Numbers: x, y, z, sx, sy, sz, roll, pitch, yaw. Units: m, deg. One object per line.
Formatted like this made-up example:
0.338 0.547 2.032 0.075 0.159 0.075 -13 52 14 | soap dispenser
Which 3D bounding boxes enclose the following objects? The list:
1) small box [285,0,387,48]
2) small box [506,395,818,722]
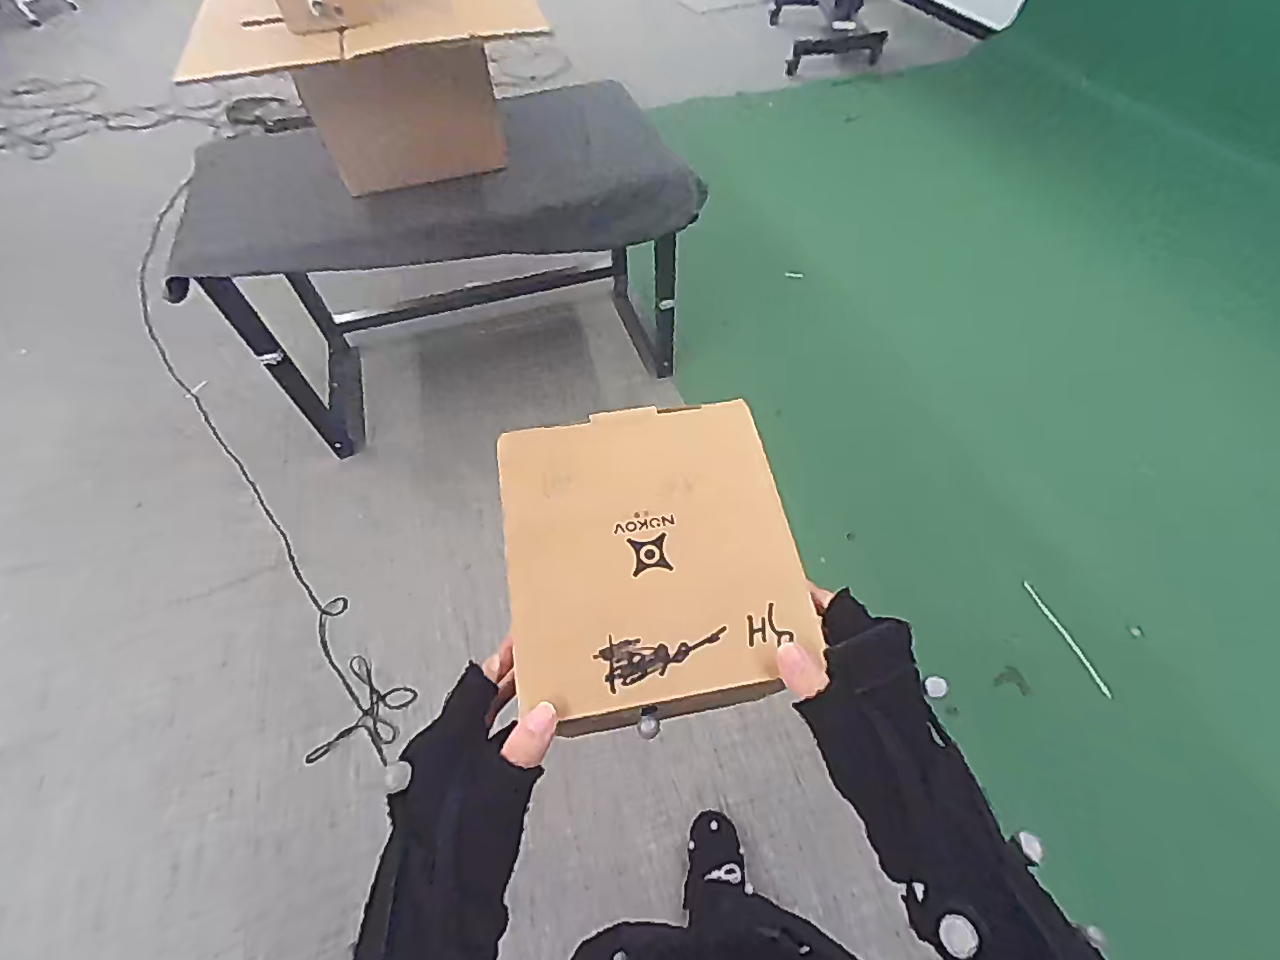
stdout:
-0.620 -0.994 1.073 0.168 0.176 0.179 -16 57 -7 | small box
0.003 0.065 0.397 0.168 0.176 0.179 -9 62 -5 | small box
